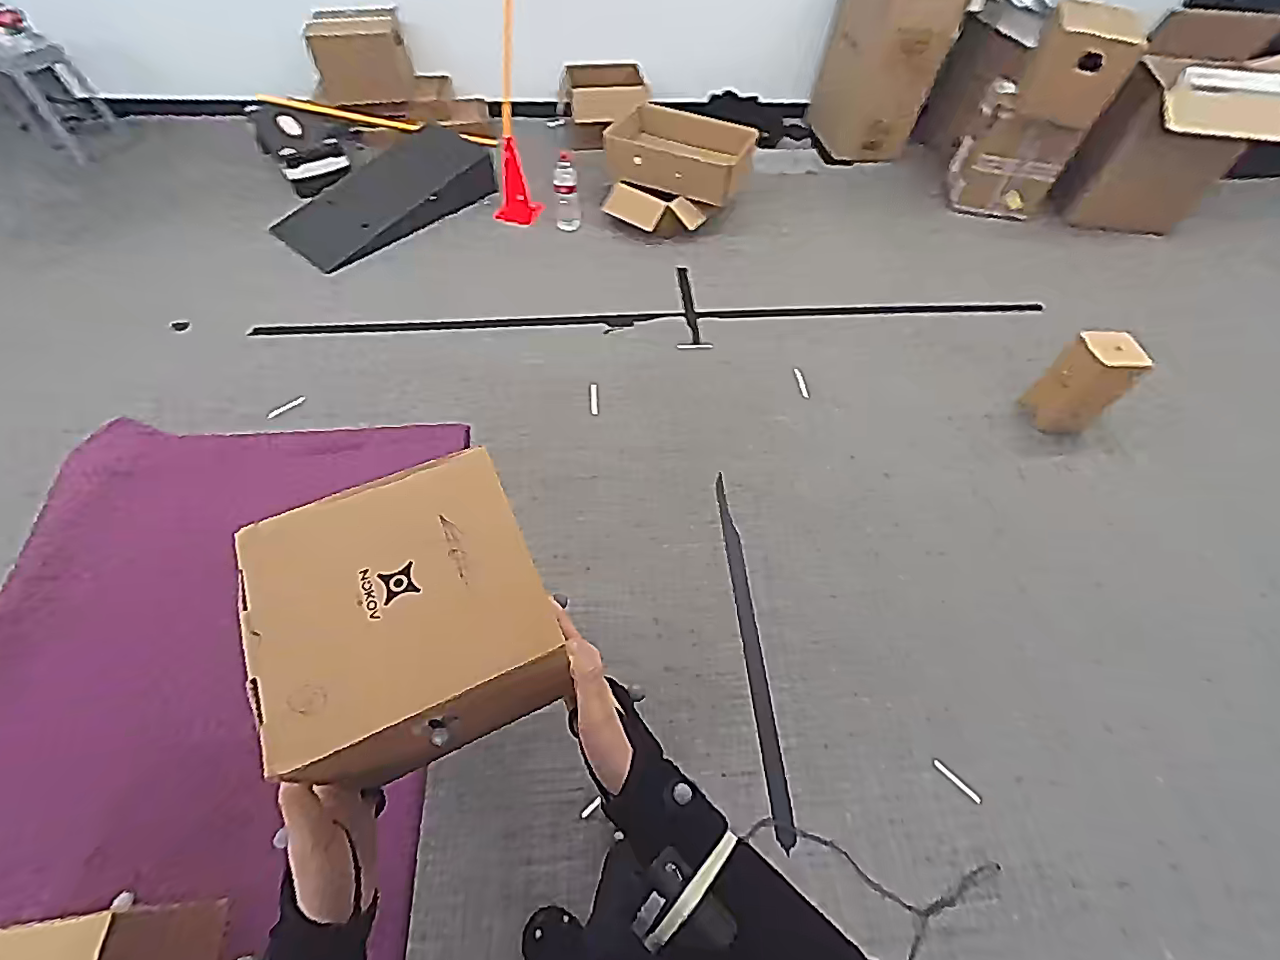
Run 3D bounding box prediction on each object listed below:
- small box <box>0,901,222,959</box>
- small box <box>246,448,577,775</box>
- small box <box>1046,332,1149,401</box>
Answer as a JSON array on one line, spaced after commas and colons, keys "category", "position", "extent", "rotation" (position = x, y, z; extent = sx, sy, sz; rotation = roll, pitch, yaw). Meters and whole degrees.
[{"category": "small box", "position": [-0.505, 0.481, 0.457], "extent": [0.168, 0.176, 0.179], "rotation": [-5, 55, -6]}, {"category": "small box", "position": [-0.159, 0.109, 0.421], "extent": [0.179, 0.176, 0.168], "rotation": [-21, 63, -15]}, {"category": "small box", "position": [1.549, -0.385, 1.844], "extent": [0.179, 0.176, 0.168], "rotation": [0, 54, -2]}]
